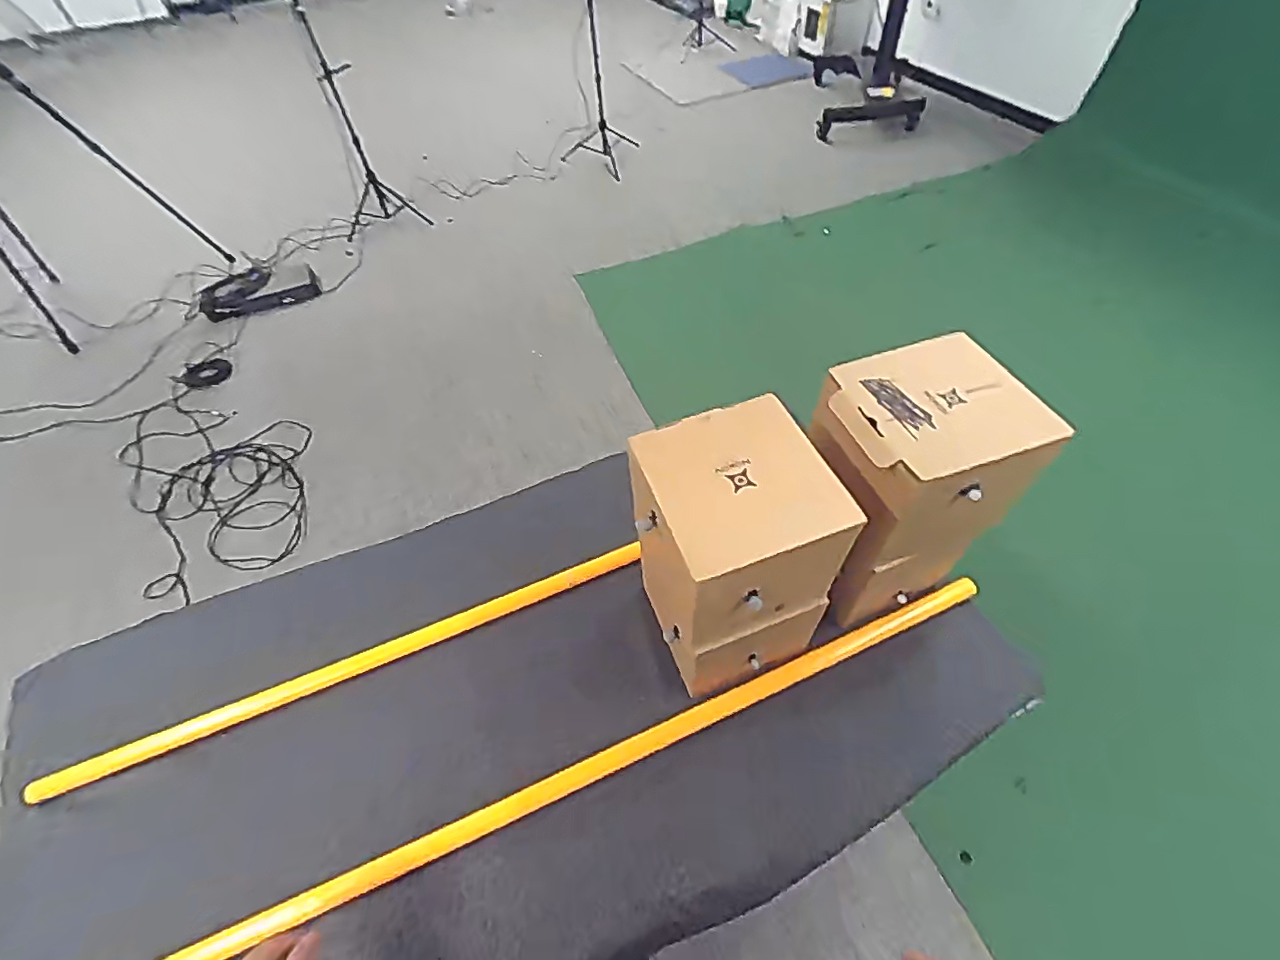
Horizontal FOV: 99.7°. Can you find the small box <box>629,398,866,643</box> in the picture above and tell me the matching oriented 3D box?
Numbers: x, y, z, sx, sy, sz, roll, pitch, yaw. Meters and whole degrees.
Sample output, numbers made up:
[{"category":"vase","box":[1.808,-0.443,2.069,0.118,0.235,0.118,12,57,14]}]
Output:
[{"category":"small box","box":[0.098,0.050,0.566,0.168,0.176,0.179,-18,53,-10]}]

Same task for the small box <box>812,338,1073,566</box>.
[{"category":"small box","box":[0.310,-0.026,0.608,0.179,0.176,0.168,-16,54,-9]}]

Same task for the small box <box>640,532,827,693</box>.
[{"category":"small box","box":[0.108,0.152,0.692,0.168,0.176,0.179,-18,53,-10]}]
